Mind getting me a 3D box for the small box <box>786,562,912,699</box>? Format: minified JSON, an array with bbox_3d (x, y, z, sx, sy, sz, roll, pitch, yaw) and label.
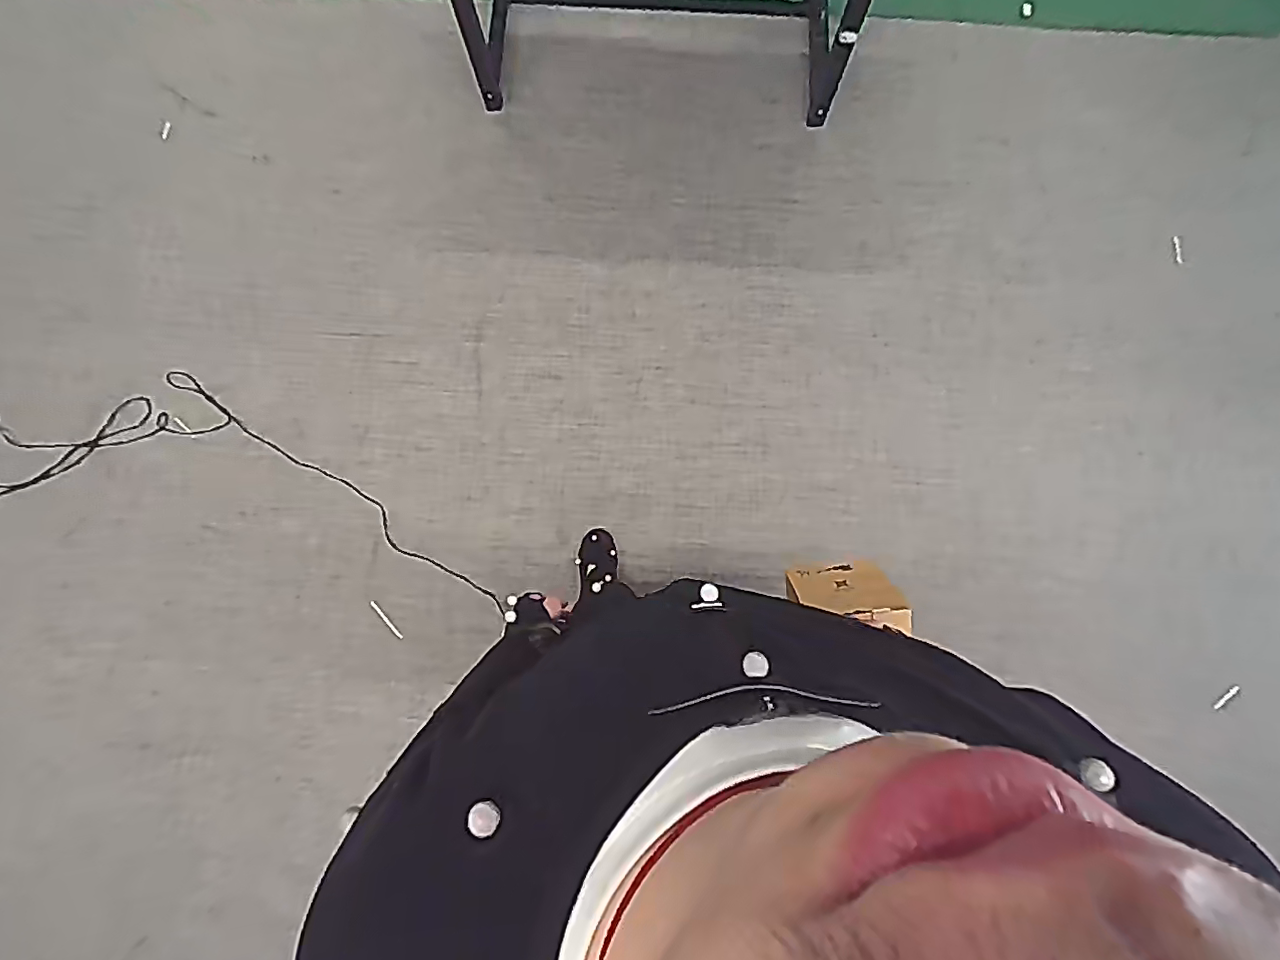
[{"bbox_3d":[0.366,0.268,0.958,0.168,0.179,0.176,-9,106,5],"label":"small box"}]
